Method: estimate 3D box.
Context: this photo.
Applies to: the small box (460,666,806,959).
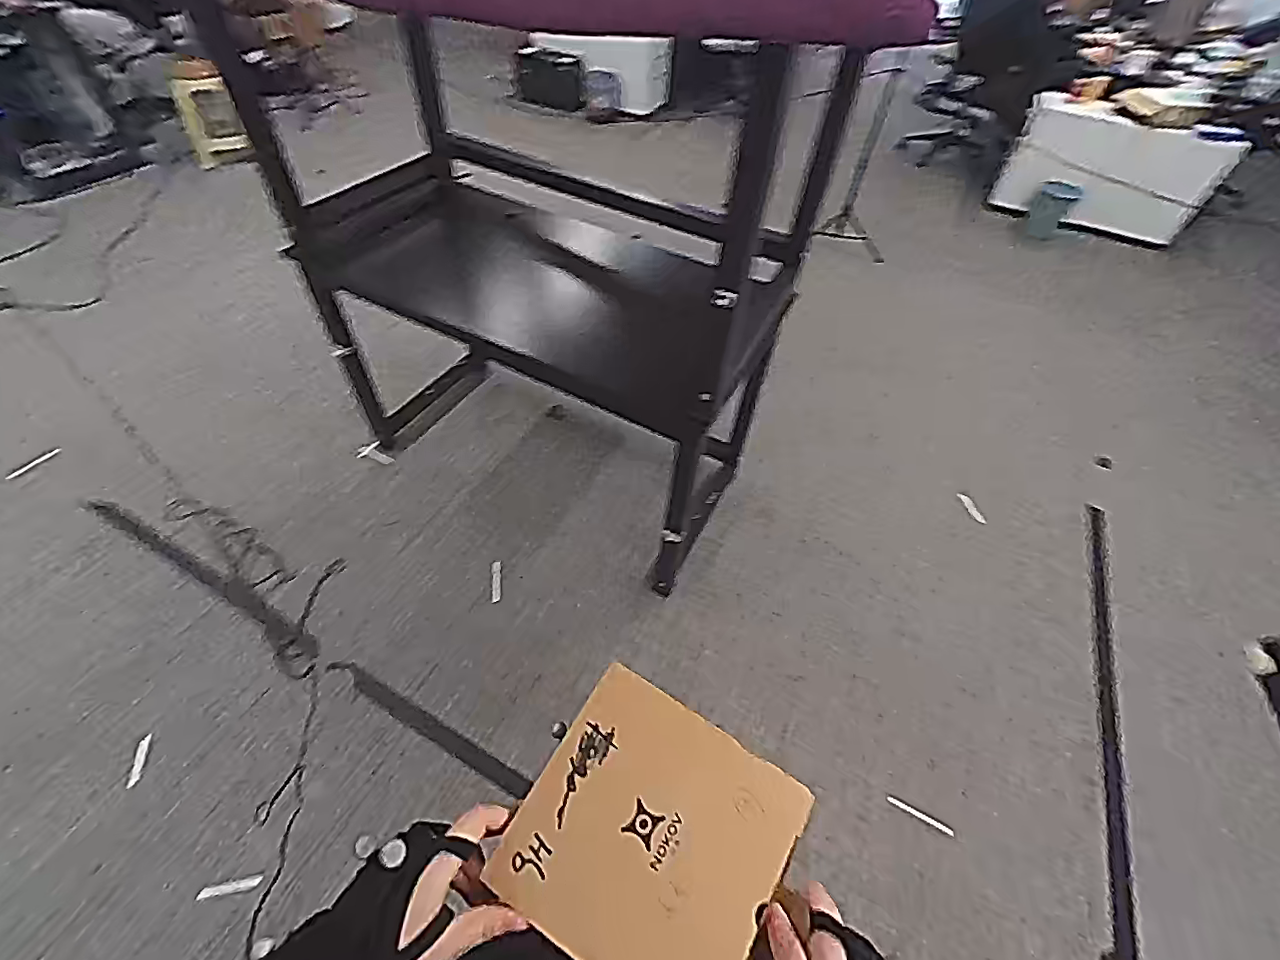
[{"bbox_3d":[-0.004,0.276,0.427,0.179,0.176,0.168,30,63,12],"label":"small box"}]
